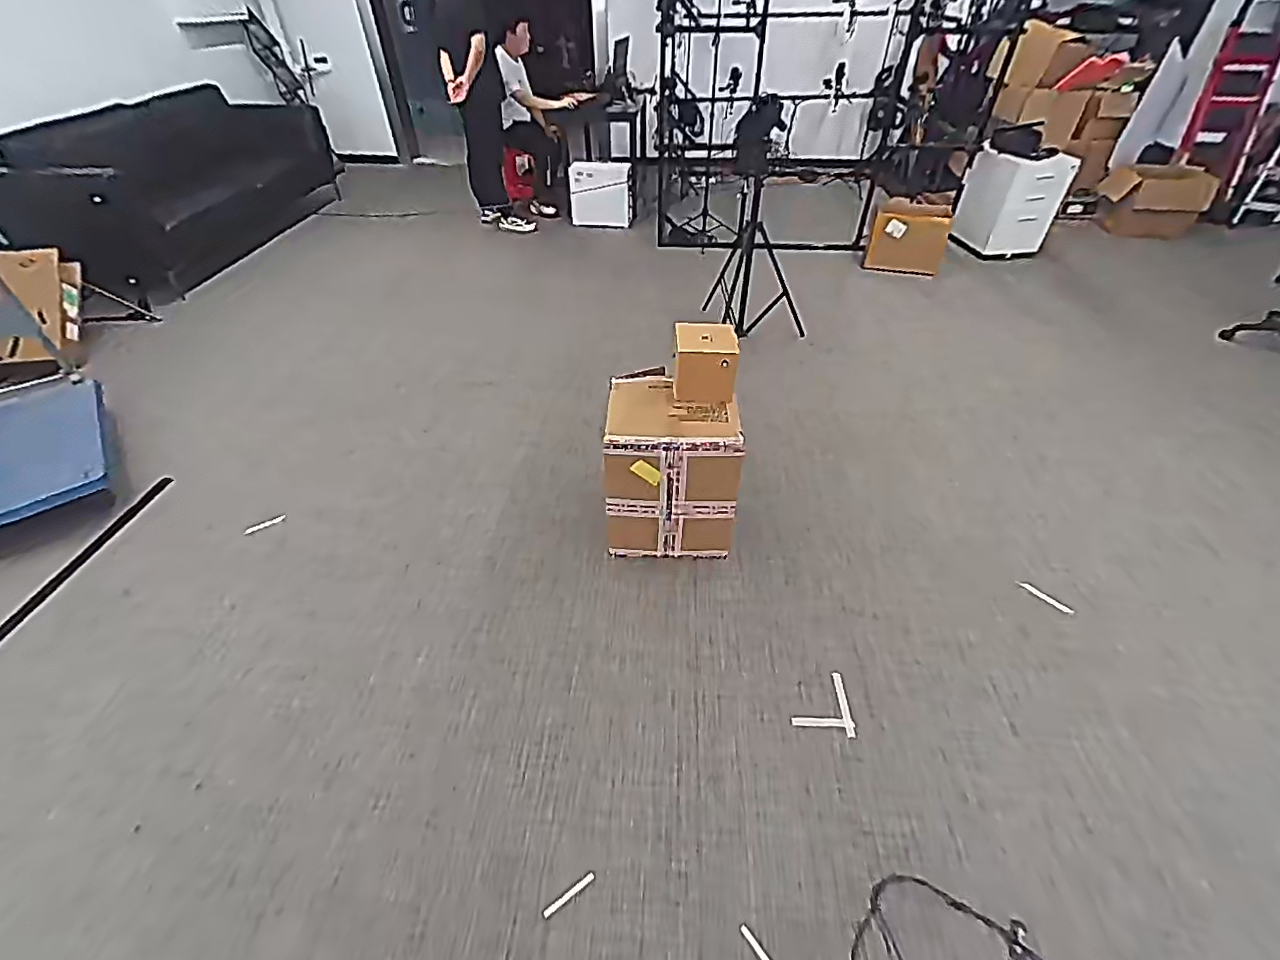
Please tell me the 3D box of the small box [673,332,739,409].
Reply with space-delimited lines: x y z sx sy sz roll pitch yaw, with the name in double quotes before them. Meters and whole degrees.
"small box" 0.189 -0.327 1.618 0.179 0.176 0.168 1 44 -1
